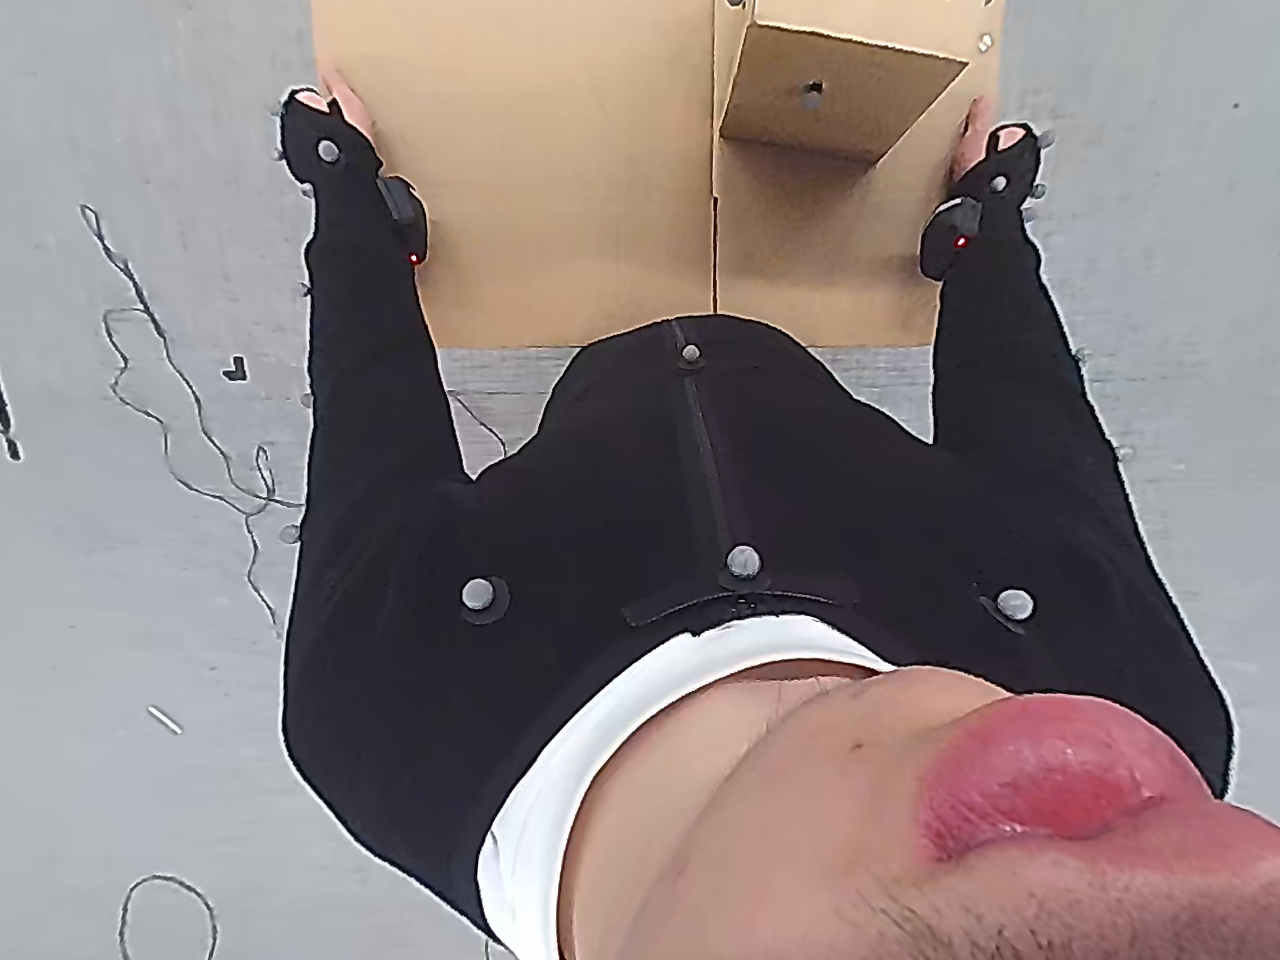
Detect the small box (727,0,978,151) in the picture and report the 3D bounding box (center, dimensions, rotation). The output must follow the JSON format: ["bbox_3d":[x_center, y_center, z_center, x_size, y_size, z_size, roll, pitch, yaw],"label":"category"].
[{"bbox_3d":[0.183,-0.429,0.489,0.179,0.176,0.168,10,98,0],"label":"small box"}]
